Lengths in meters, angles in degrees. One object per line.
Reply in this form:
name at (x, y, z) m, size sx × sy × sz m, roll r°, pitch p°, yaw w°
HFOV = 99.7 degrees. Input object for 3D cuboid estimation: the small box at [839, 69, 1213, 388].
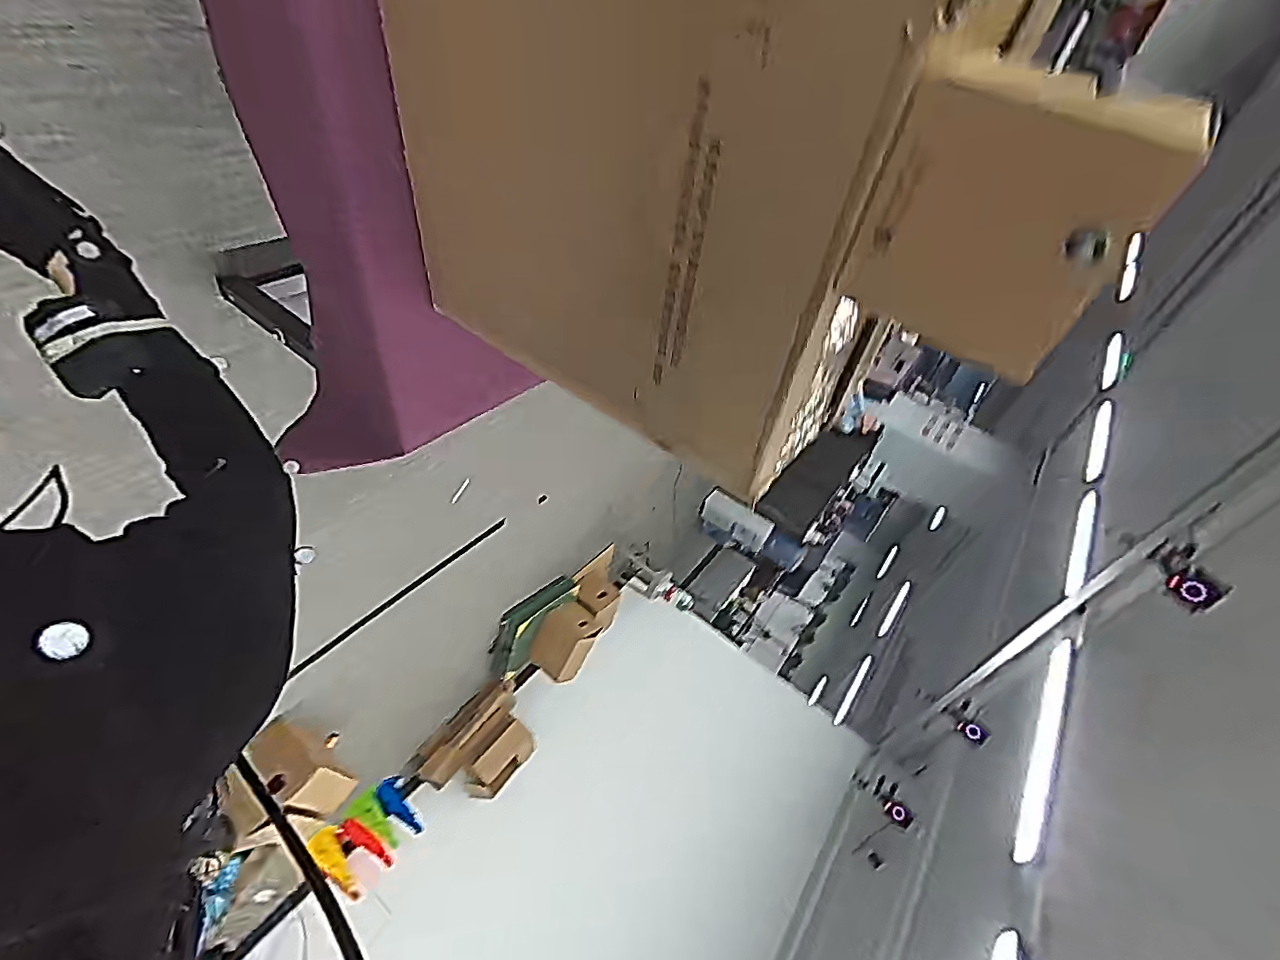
small box at (0.297, -0.212, 0.442) m, size 0.179 × 0.176 × 0.168 m, roll -41°, pitch 156°, yaw -37°
